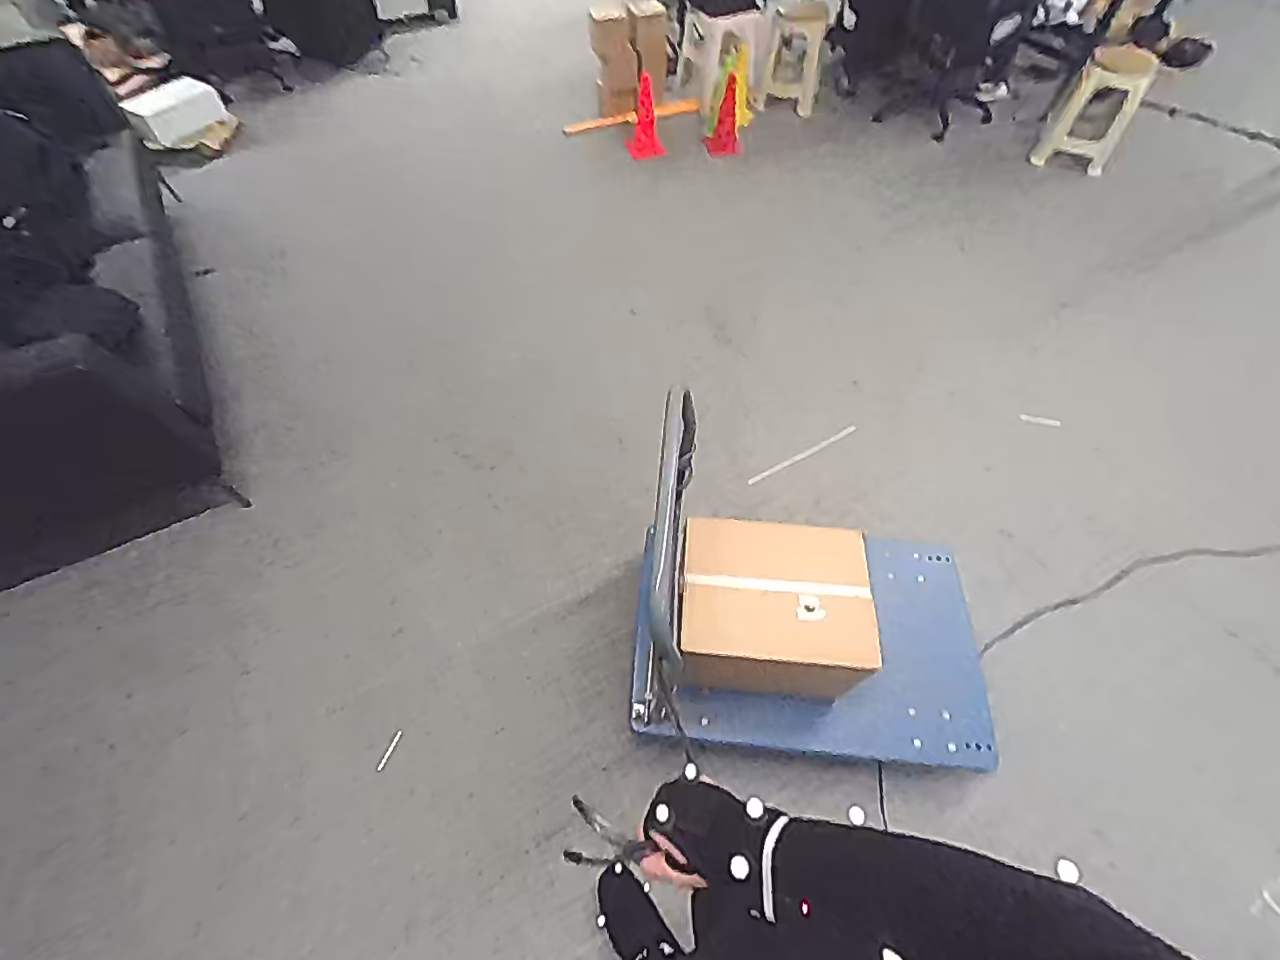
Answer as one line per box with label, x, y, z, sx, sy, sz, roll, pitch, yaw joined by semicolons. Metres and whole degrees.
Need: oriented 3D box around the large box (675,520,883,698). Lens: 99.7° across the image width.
large box;0.295;0.313;1.281;0.408;0.320;0.320;5;58;3
